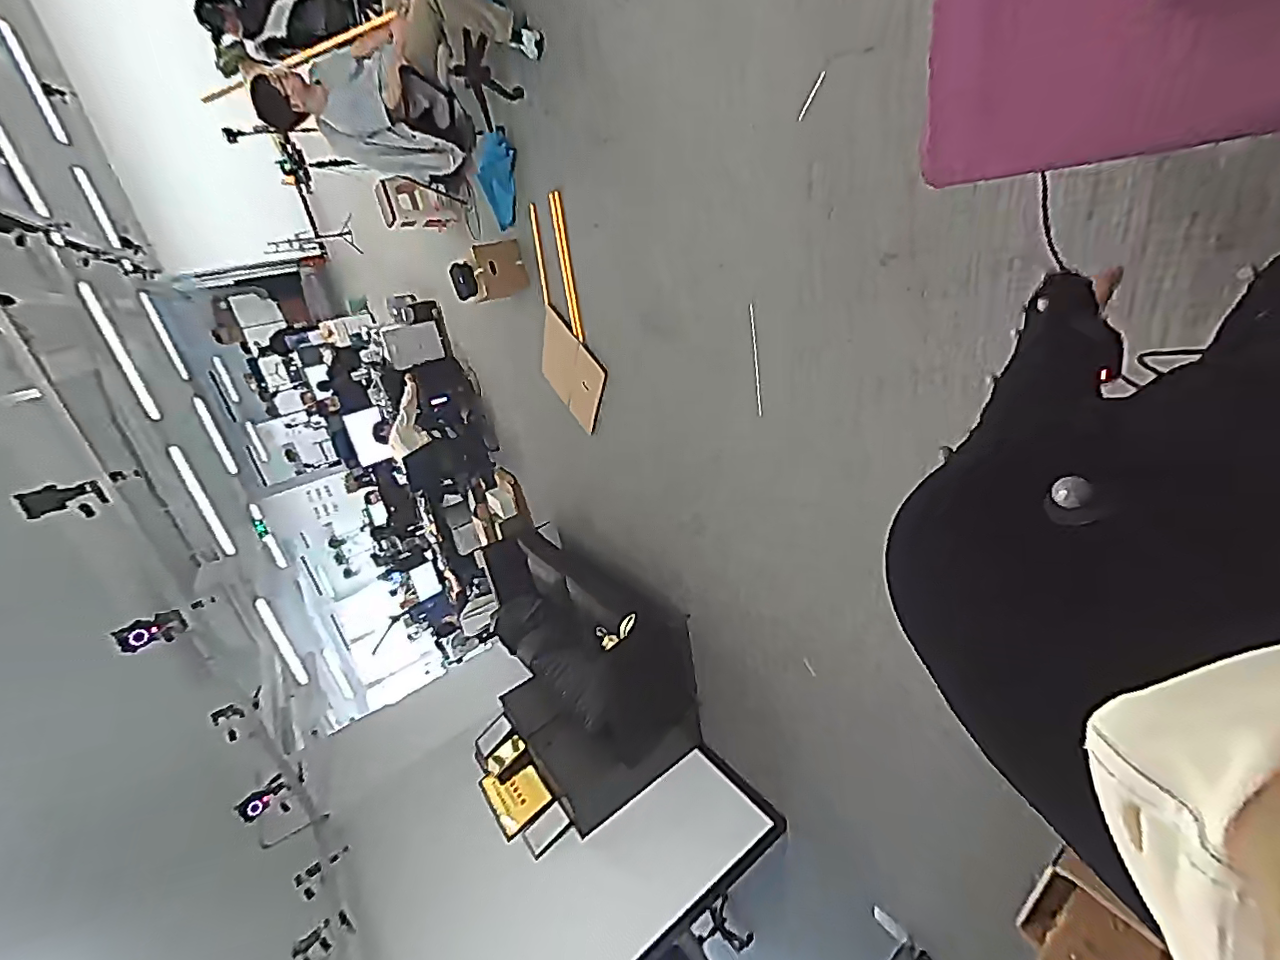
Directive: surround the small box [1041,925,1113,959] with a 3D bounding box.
[{"bbox_3d":[1.098,1.268,1.342,0.168,0.176,0.179,35,140,47],"label":"small box"}]
